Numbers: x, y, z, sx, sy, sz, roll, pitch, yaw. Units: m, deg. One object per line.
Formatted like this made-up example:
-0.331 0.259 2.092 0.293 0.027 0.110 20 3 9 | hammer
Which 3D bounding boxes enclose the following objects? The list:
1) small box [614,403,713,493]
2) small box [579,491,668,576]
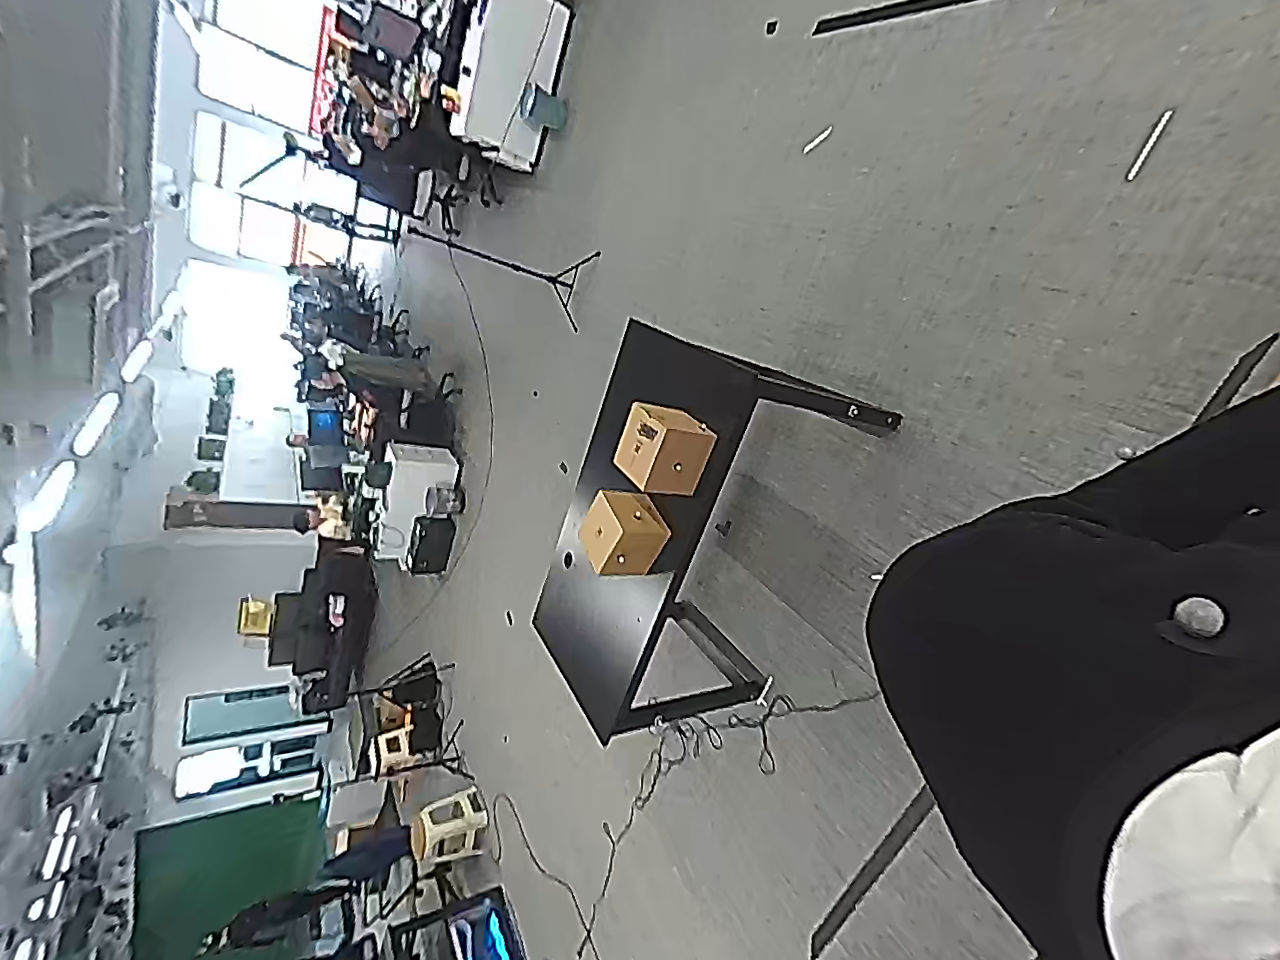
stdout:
0.064 -0.080 1.400 0.168 0.176 0.179 45 122 47 | small box
-0.044 0.150 1.521 0.179 0.176 0.168 -61 42 29 | small box
